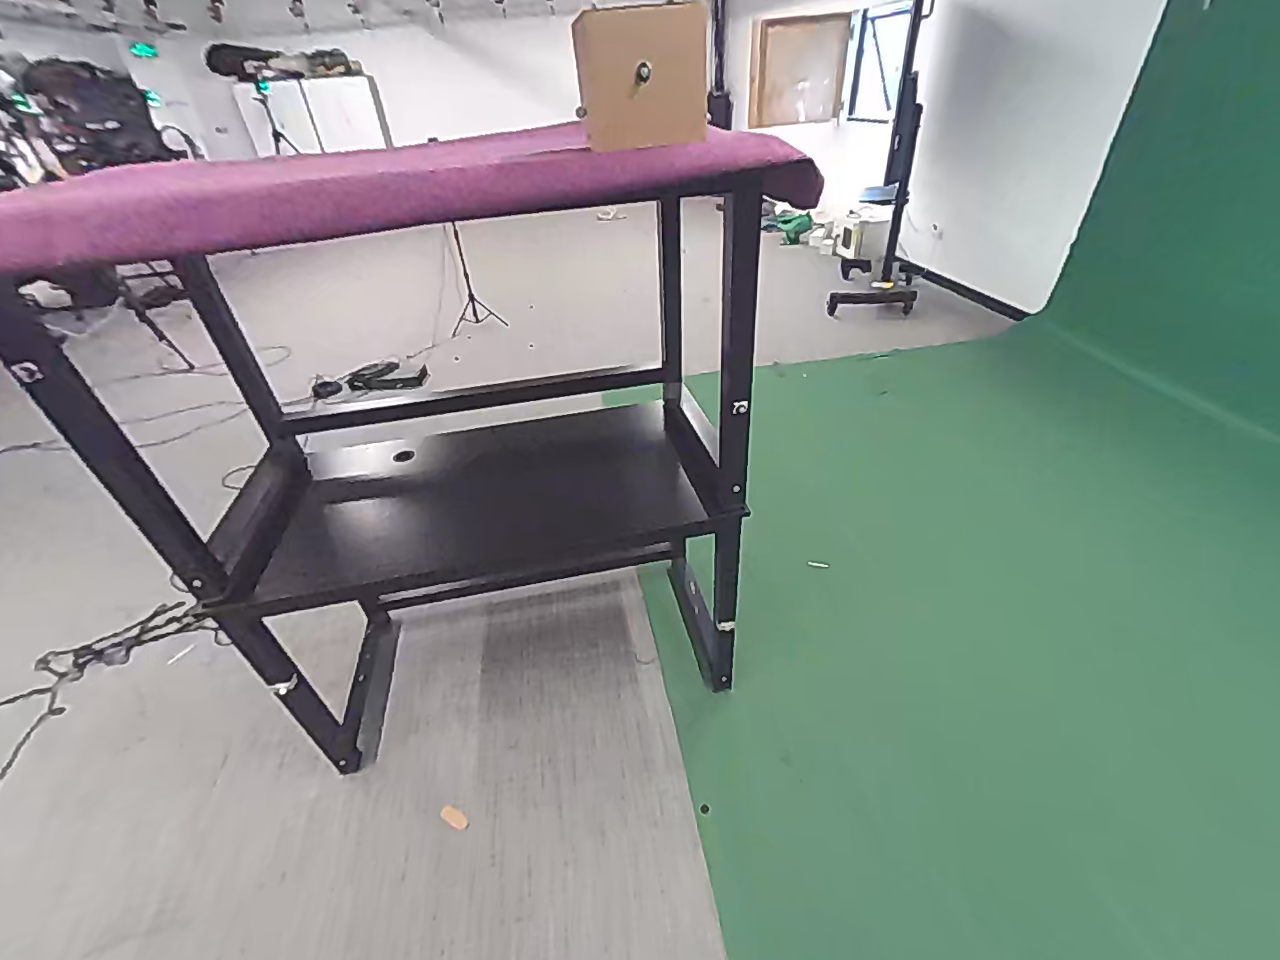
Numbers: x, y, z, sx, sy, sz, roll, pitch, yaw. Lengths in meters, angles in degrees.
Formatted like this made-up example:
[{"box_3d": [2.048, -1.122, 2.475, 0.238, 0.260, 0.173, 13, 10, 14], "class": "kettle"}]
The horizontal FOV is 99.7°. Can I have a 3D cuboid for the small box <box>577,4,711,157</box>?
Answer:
[{"box_3d": [0.004, -0.616, 0.842, 0.179, 0.176, 0.168, -10, 36, -5], "class": "small box"}]
